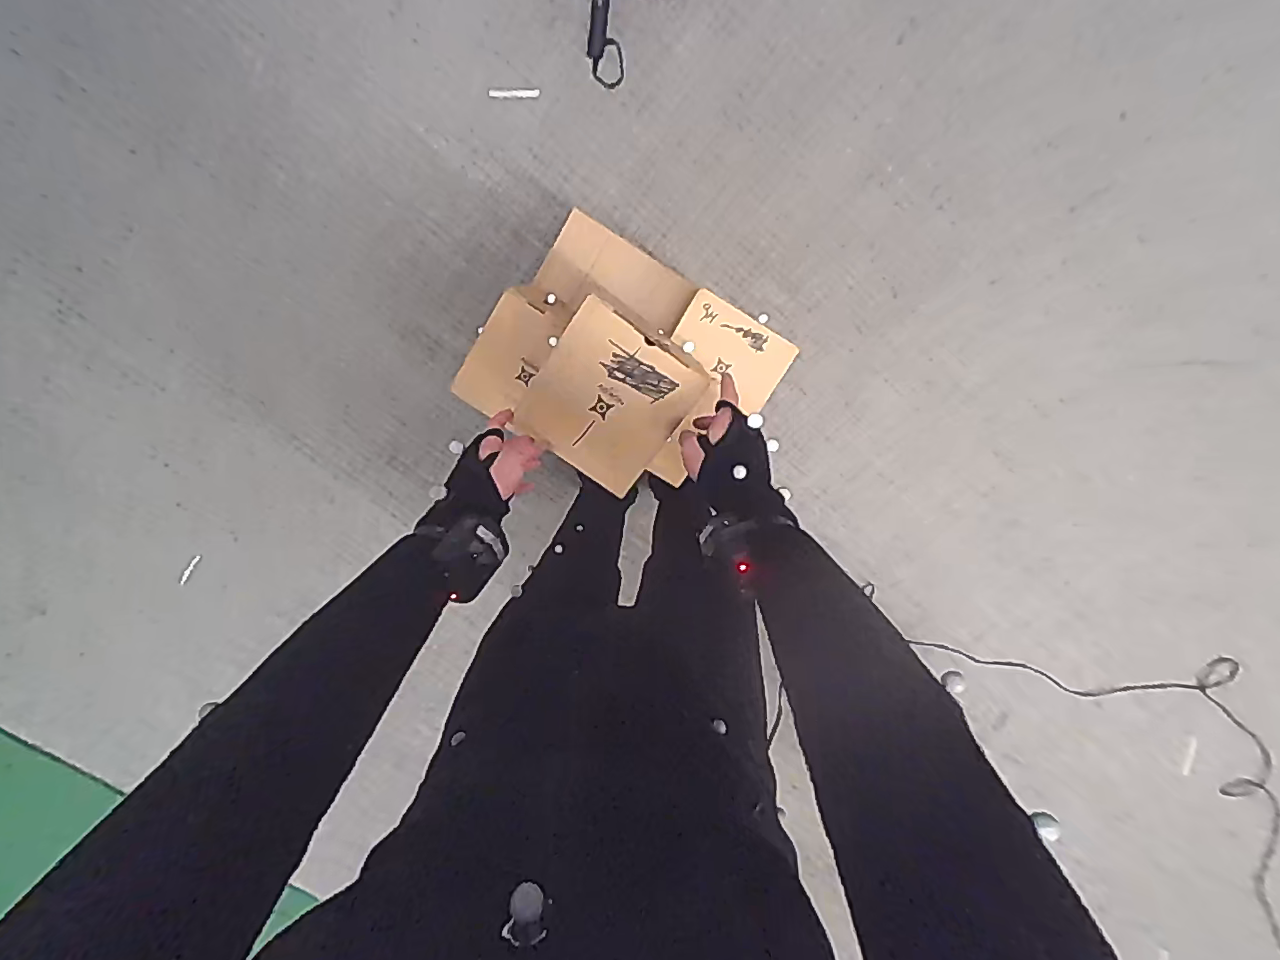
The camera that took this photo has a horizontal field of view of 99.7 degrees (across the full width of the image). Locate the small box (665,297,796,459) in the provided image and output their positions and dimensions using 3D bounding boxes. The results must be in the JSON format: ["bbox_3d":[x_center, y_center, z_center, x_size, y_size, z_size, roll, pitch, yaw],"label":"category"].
[{"bbox_3d":[0.111,-0.163,0.841,0.168,0.176,0.179,29,106,-7],"label":"small box"}]

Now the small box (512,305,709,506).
[{"bbox_3d":[-0.032,-0.104,0.691,0.168,0.176,0.179,35,108,-8],"label":"small box"}]
